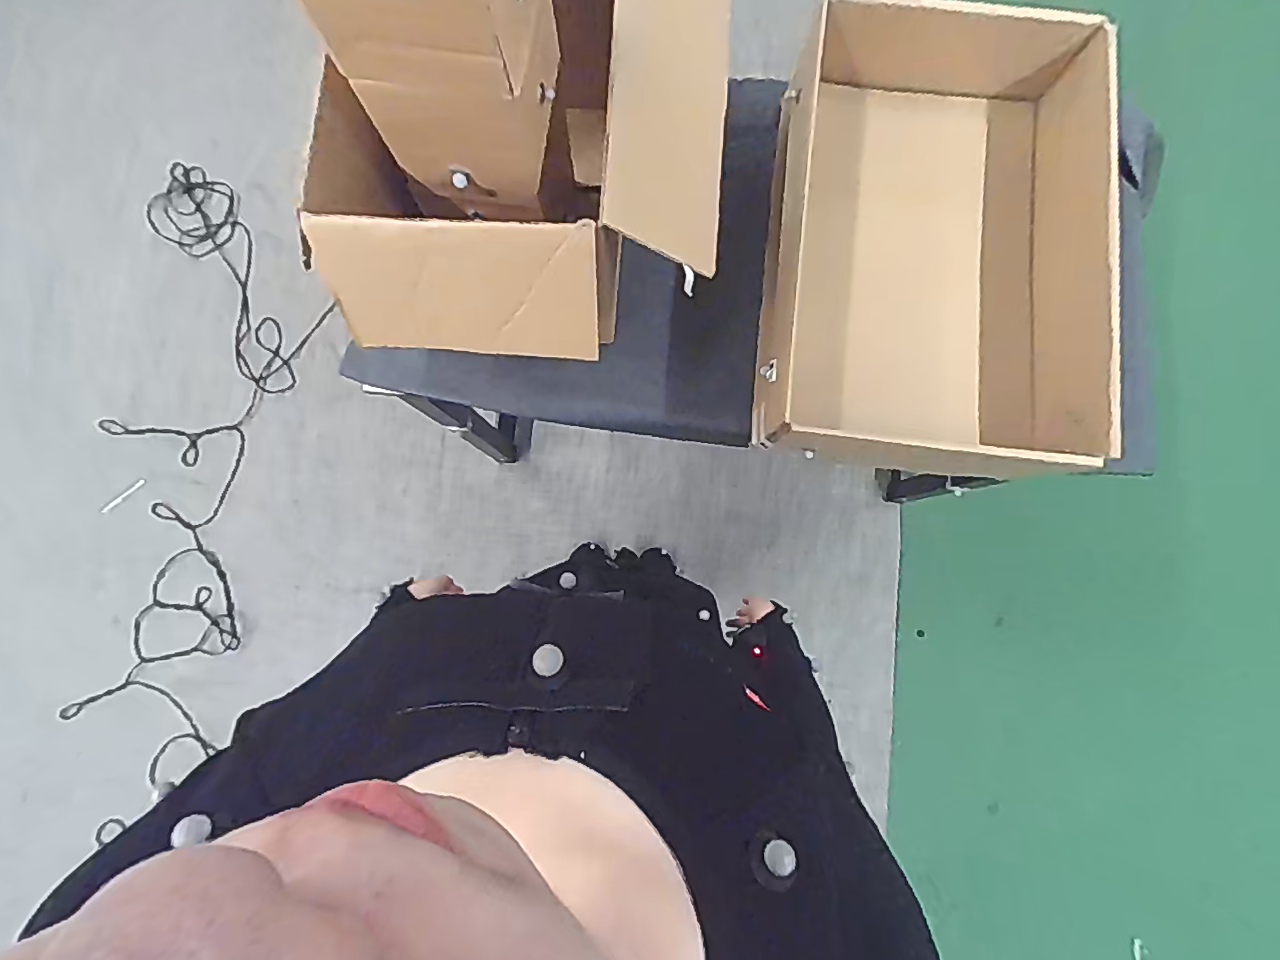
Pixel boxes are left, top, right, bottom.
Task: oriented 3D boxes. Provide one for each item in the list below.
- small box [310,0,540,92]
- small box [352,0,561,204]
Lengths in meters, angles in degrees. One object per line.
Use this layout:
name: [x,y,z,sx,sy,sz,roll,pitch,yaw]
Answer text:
small box: [-0.188,-0.470,0.451,0.179,0.176,0.168,9,83,0]
small box: [-0.189,-0.453,0.612,0.168,0.176,0.179,8,85,0]
